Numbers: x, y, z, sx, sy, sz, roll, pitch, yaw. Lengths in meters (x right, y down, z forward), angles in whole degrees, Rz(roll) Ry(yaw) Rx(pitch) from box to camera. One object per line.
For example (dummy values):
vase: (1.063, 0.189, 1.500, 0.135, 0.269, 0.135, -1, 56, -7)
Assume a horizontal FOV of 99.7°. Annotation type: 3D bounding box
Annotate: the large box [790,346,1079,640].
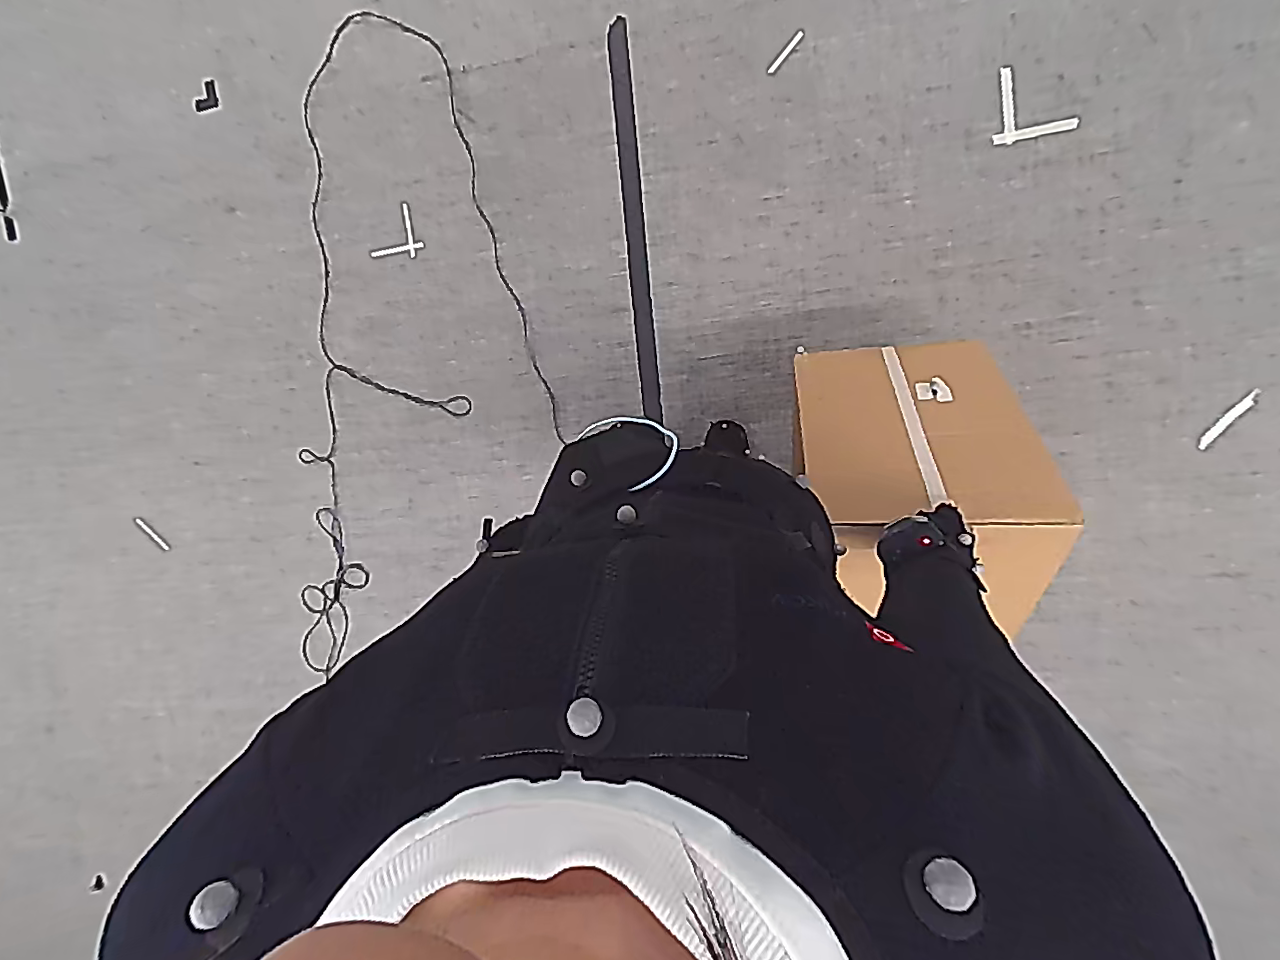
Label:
large box: (0.432, 0.019, 0.922, 0.320, 0.408, 0.320, 0, 134, 11)
